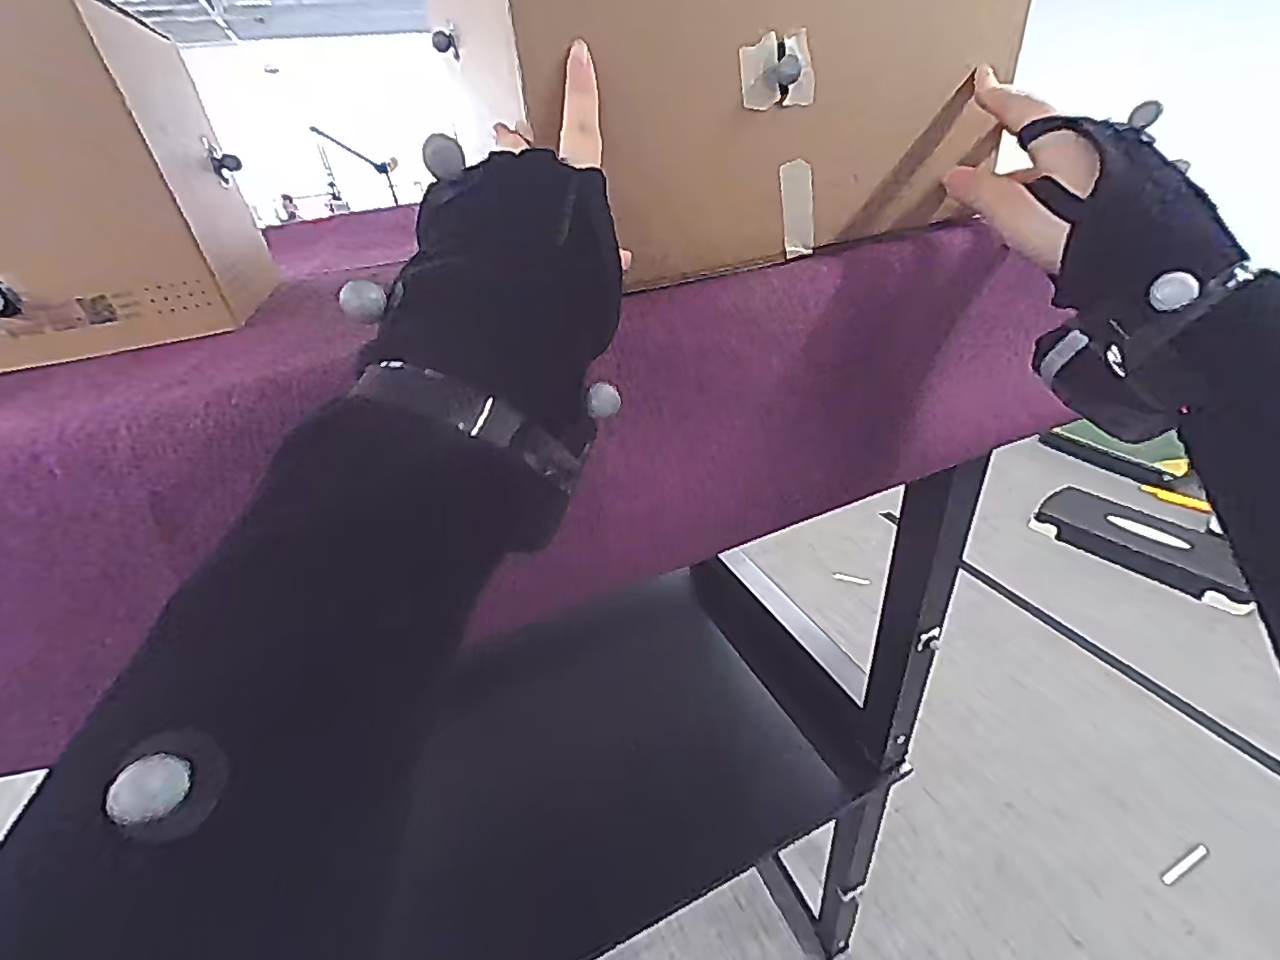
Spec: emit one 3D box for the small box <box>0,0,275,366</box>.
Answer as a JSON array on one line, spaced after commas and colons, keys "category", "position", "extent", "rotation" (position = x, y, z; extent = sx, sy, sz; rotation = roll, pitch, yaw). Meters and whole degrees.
[{"category": "small box", "position": [-0.359, -0.179, 0.333], "extent": [0.168, 0.176, 0.179], "rotation": [-18, 34, -15]}]
